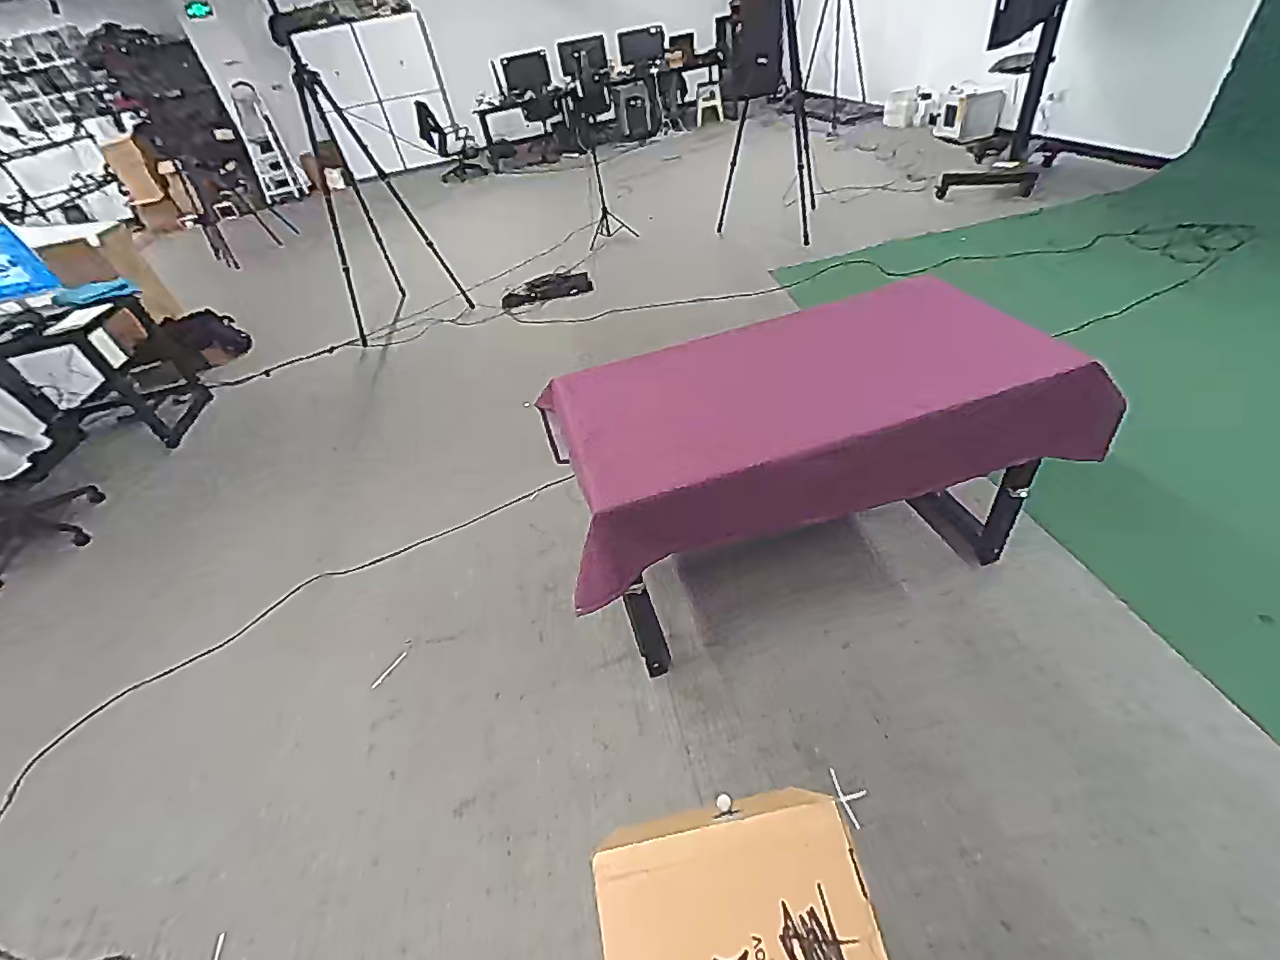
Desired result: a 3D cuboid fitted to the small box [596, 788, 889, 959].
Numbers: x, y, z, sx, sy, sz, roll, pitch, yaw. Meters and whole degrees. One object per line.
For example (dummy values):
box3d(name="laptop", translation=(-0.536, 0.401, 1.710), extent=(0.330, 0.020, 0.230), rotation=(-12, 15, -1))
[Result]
box3d(name="small box", translation=(0.073, 0.341, 0.406), extent=(0.179, 0.176, 0.168), rotation=(-12, 62, -1))
